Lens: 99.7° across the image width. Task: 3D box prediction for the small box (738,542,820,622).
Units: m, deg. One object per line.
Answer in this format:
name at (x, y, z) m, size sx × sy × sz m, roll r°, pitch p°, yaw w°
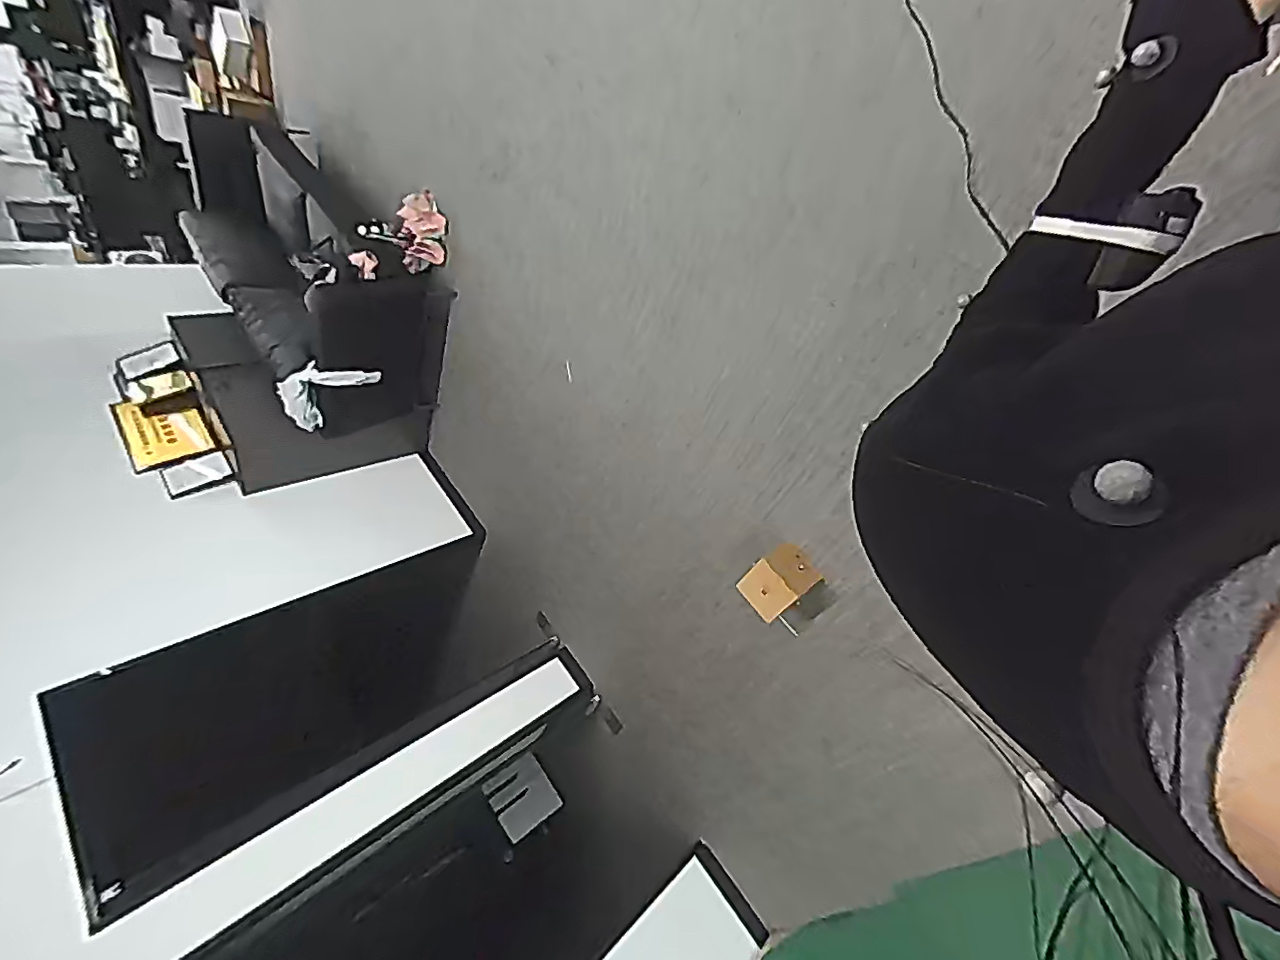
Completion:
small box at (0.472, 0.340, 1.820) m, size 0.168 × 0.176 × 0.179 m, roll 50°, pitch 134°, yaw 21°
